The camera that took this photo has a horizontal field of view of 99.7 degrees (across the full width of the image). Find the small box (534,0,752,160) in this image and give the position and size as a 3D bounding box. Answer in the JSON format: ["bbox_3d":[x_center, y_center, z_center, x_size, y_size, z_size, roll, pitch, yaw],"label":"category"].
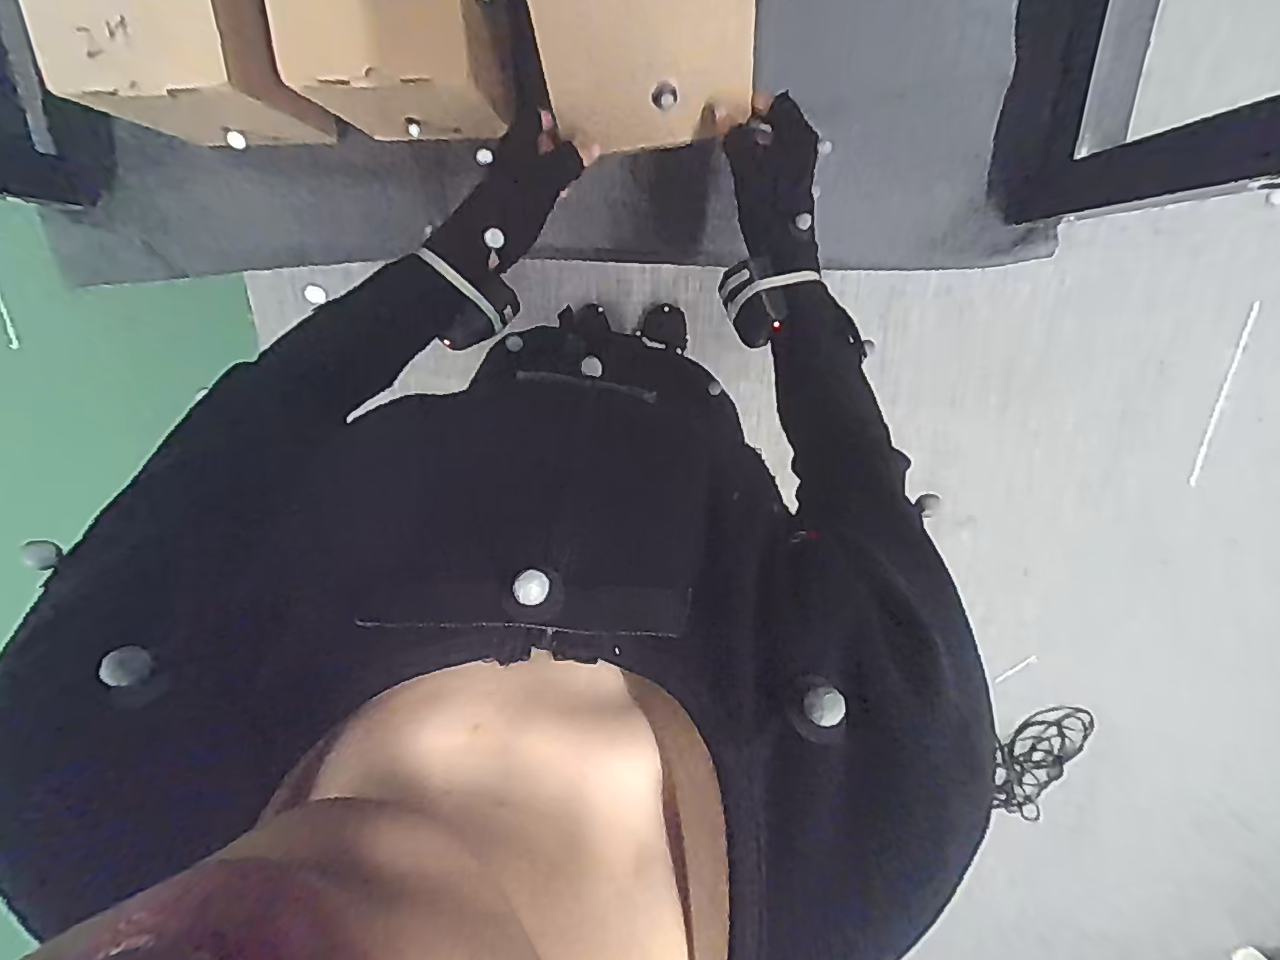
[{"bbox_3d":[0.002,-0.420,0.482,0.179,0.168,0.176,-6,140,3],"label":"small box"}]

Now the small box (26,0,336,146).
[{"bbox_3d":[-0.428,-0.445,0.520,0.168,0.176,0.179,-1,108,2],"label":"small box"}]
